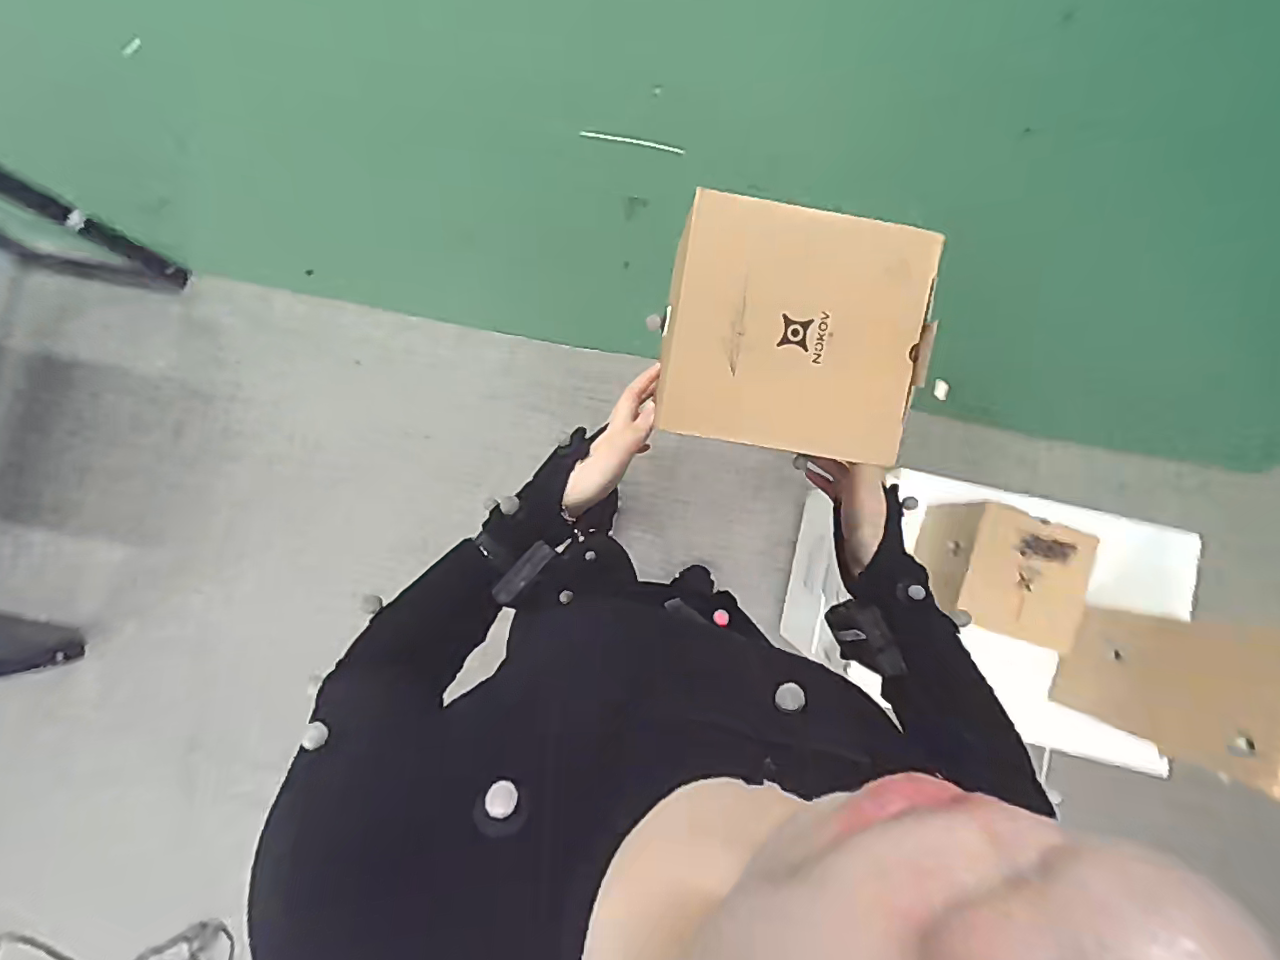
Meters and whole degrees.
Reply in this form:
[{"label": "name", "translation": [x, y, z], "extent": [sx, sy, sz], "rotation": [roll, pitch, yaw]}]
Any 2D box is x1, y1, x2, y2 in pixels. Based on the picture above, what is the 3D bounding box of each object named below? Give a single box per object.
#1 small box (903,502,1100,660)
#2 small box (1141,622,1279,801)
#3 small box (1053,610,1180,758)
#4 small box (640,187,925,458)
[{"label": "small box", "translation": [0.533, 0.144, 0.823], "extent": [0.168, 0.176, 0.179], "rotation": [19, 86, 3]}, {"label": "small box", "translation": [0.758, 0.284, 0.640], "extent": [0.168, 0.176, 0.179], "rotation": [20, 85, 4]}, {"label": "small box", "translation": [0.765, 0.306, 0.801], "extent": [0.168, 0.176, 0.179], "rotation": [21, 85, 4]}, {"label": "small box", "translation": [0.098, -0.116, 0.456], "extent": [0.179, 0.176, 0.168], "rotation": [7, 96, -2]}]
